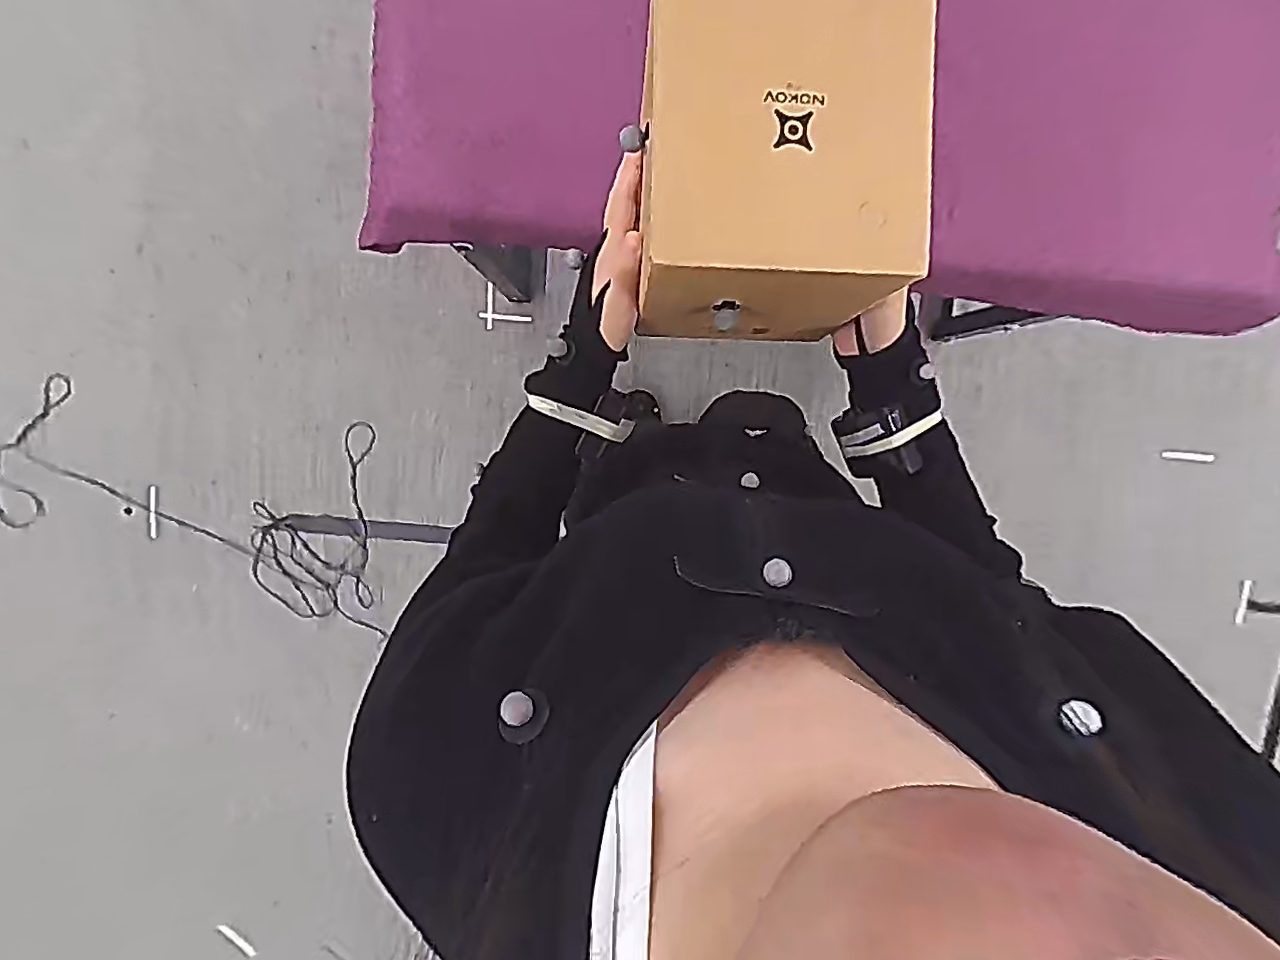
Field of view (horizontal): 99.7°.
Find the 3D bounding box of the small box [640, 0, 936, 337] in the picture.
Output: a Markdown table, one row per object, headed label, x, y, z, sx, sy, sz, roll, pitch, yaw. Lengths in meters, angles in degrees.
| label | x | y | z | sx | sy | sz | roll | pitch | yaw |
| --- | --- | --- | --- | --- | --- | --- | --- | --- | --- |
| small box | 0.088 | -0.211 | 0.399 | 0.168 | 0.176 | 0.179 | 1 | 90 | -3 |
